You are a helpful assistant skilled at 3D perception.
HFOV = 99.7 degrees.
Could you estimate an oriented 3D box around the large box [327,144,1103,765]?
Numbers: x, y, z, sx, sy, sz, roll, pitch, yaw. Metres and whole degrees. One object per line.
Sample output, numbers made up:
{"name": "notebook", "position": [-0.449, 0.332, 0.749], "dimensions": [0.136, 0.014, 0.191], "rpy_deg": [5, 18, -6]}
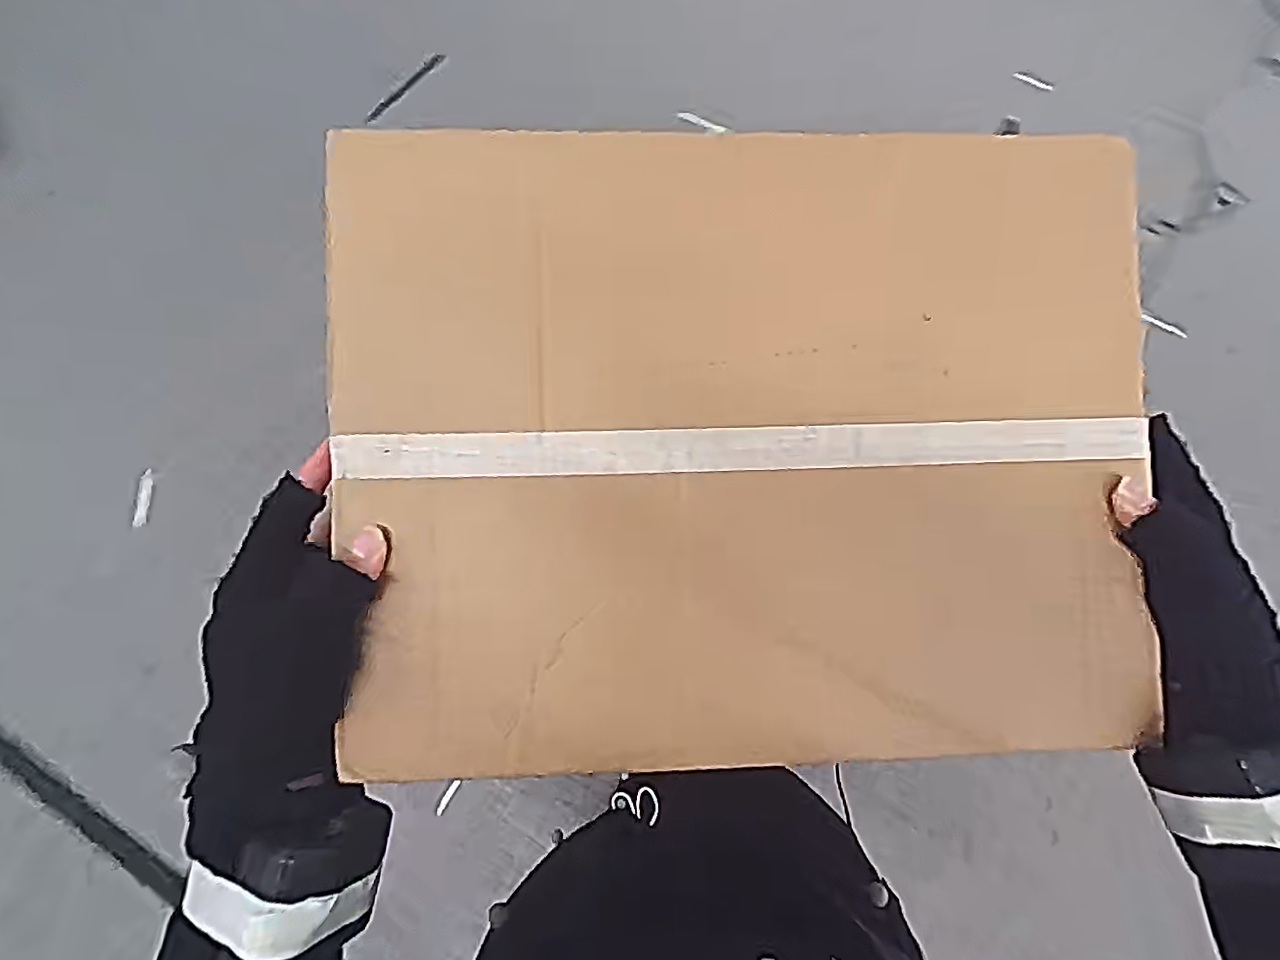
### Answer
{"name": "large box", "position": [0.040, -0.018, 0.430], "dimensions": [0.408, 0.320, 0.320], "rpy_deg": [-2, 88, -3]}
